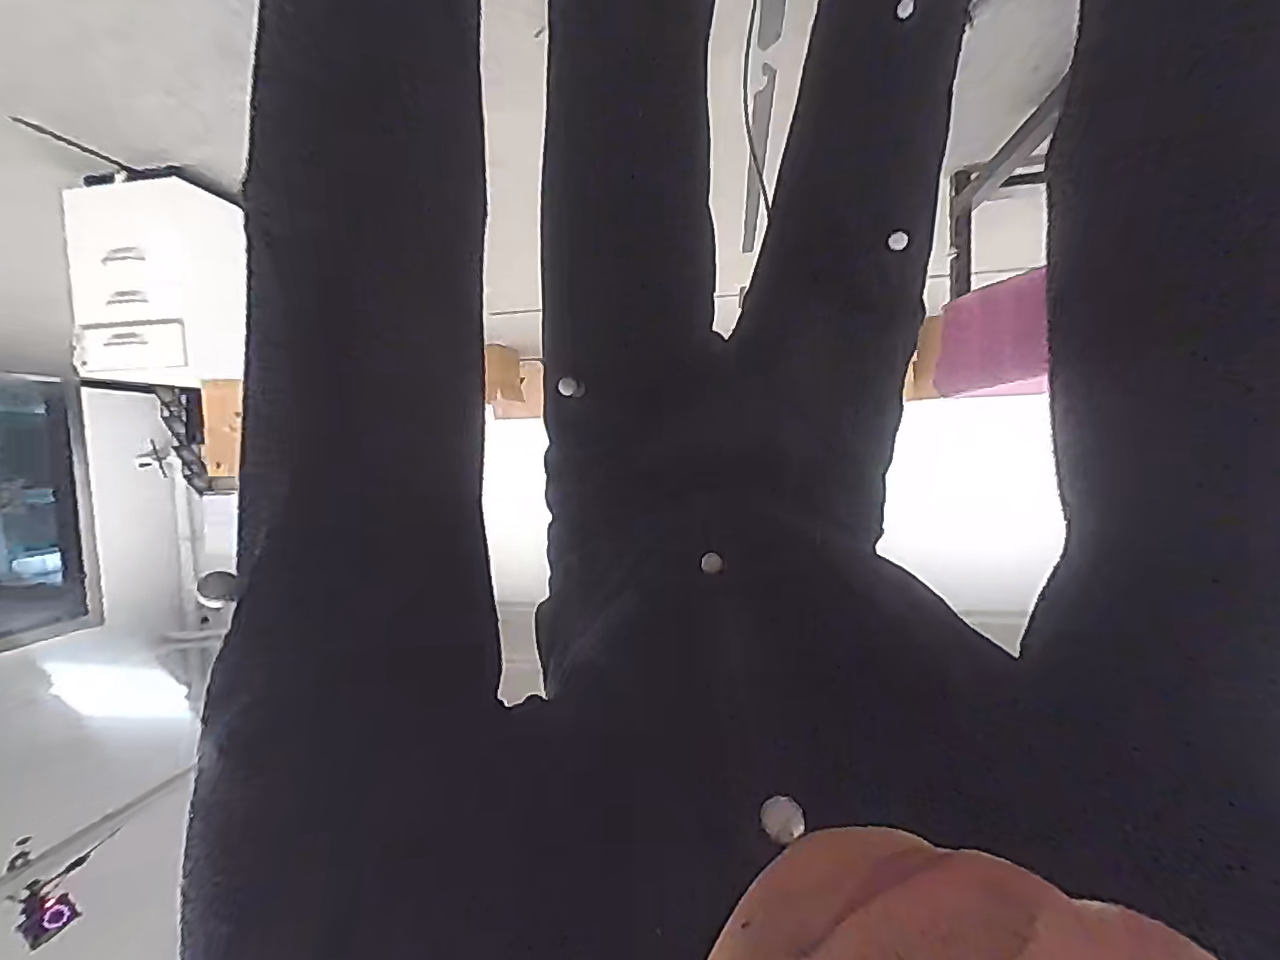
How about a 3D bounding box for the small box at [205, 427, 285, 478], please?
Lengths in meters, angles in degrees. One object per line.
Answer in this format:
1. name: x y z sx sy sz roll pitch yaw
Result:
1. small box: -1.409 -0.099 1.931 0.179 0.176 0.168 -1 -175 6
